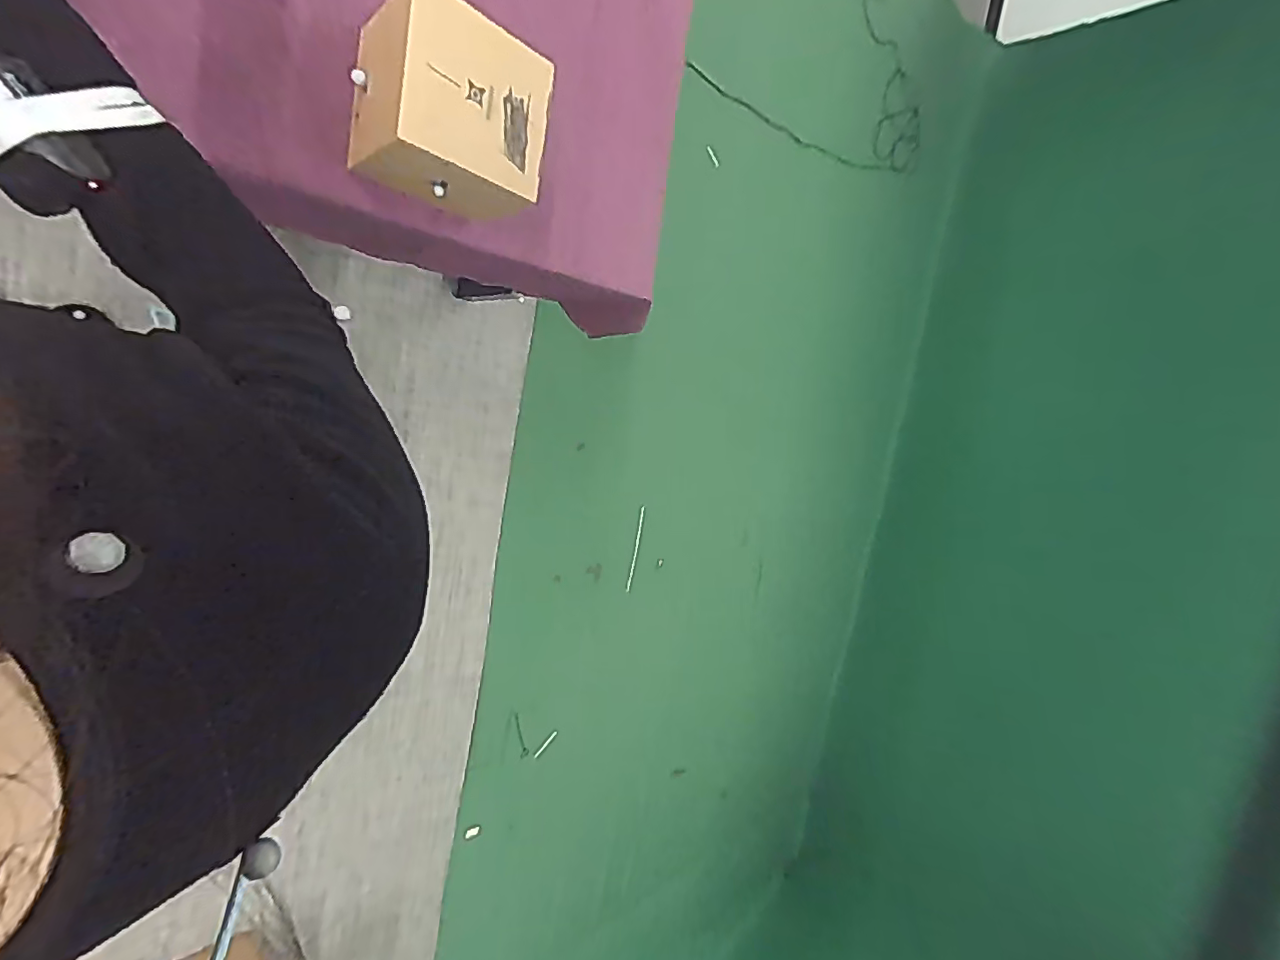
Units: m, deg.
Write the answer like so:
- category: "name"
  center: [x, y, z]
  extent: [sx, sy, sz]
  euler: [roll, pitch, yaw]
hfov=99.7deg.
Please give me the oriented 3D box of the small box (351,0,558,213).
- category: "small box"
  center: [-0.230, -0.447, 0.666]
  extent: [0.179, 0.176, 0.168]
  euler: [3, 99, -44]
